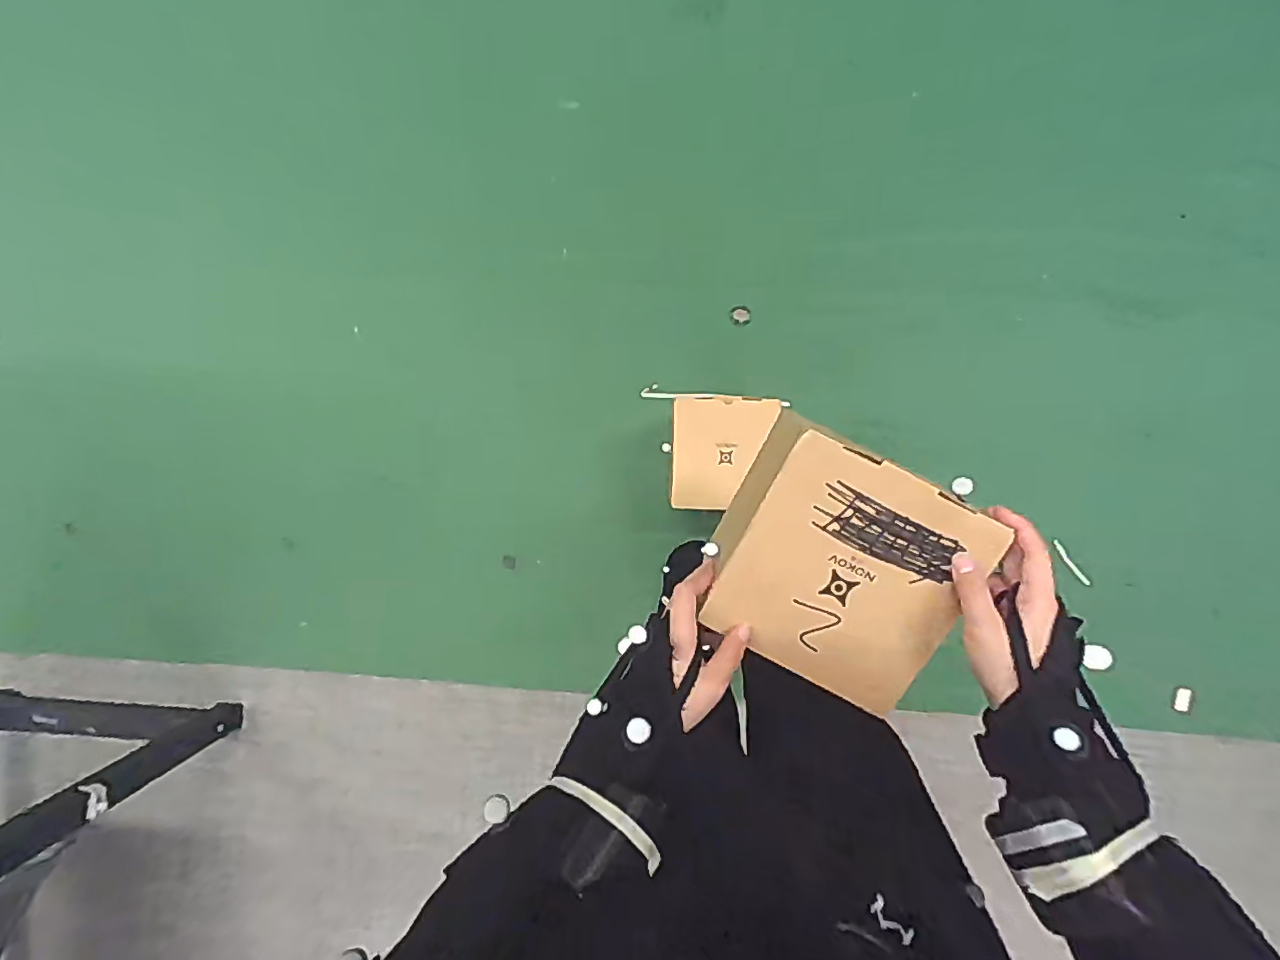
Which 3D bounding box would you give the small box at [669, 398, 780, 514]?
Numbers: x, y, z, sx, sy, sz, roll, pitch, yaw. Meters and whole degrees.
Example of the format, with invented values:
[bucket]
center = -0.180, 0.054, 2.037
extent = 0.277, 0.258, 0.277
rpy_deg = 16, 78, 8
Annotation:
[small box]
center = 0.135, -0.040, 0.914
extent = 0.168, 0.176, 0.179
rpy_deg = 2, 91, 2
